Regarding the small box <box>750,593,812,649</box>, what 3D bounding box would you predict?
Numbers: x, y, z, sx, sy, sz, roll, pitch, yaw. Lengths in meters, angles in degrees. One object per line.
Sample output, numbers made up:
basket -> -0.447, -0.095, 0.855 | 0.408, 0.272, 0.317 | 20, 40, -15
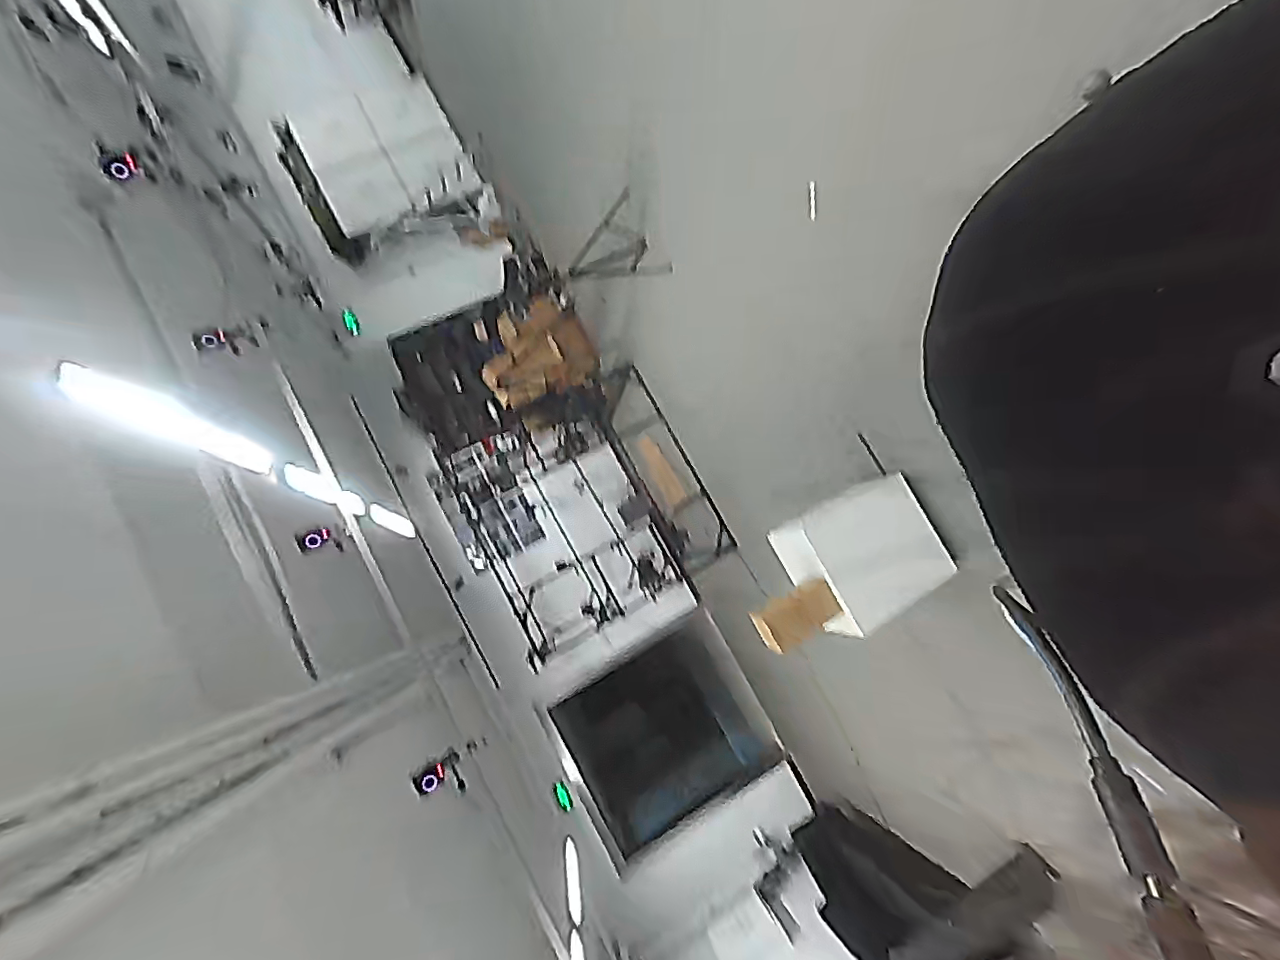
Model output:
small box -> 0.619, 0.609, 2.365 | 0.168, 0.176, 0.179 | 60, 168, 1
